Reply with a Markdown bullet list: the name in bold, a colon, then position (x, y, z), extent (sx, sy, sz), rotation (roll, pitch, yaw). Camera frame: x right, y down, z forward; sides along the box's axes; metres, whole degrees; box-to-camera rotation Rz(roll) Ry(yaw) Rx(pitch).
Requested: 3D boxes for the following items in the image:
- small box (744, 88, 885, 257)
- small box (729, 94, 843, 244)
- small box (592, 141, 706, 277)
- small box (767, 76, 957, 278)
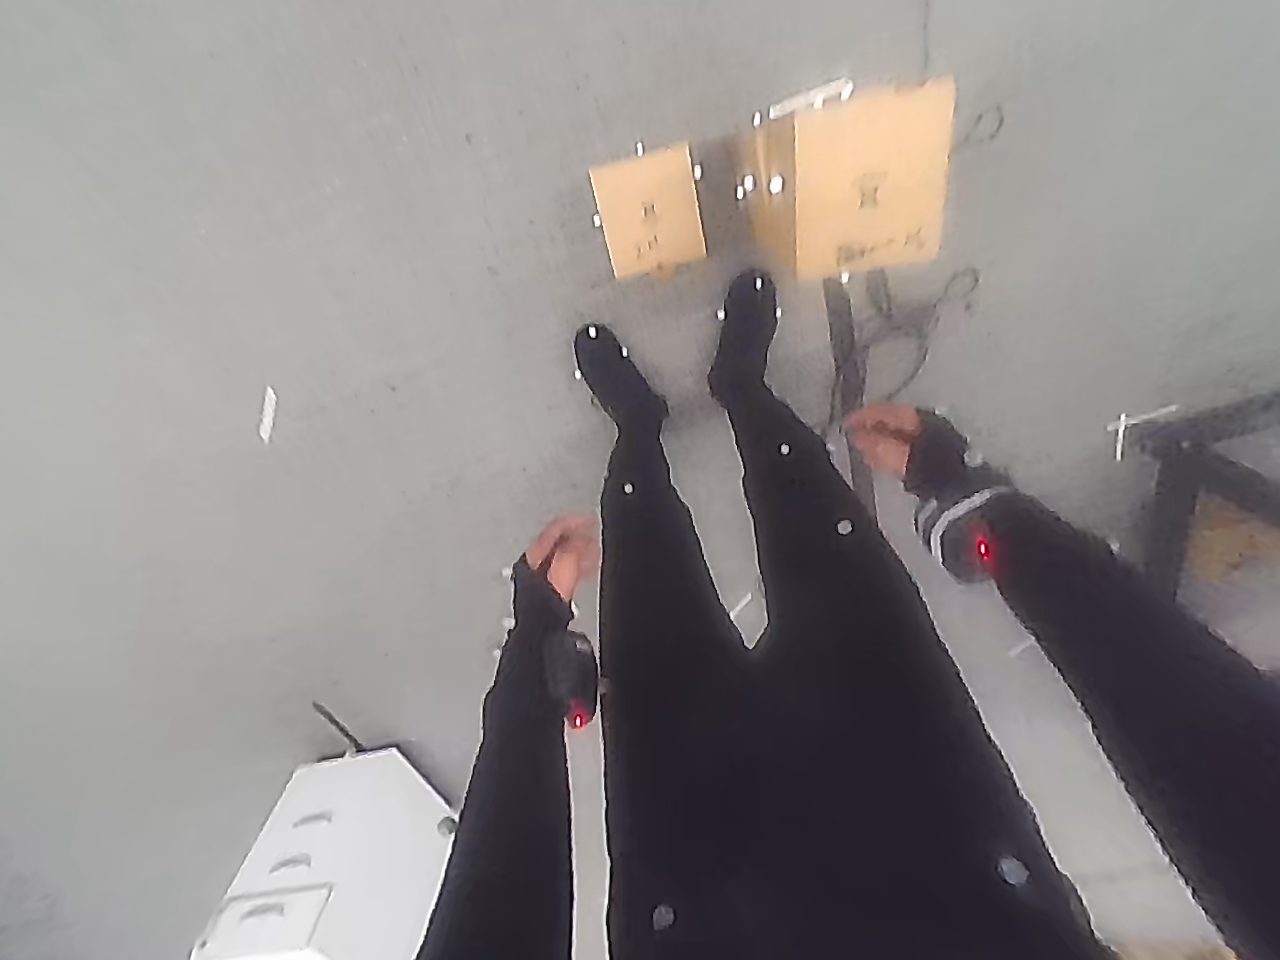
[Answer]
- **small box**: position (0.258, -0.449, 0.801), extent (0.179, 0.176, 0.168), rotation (-14, 120, 9)
- **small box**: position (0.258, -0.533, 0.939), extent (0.168, 0.176, 0.179), rotation (-15, 120, 10)
- **small box**: position (0.017, -0.485, 0.967), extent (0.168, 0.176, 0.179), rotation (-11, 121, 8)
- **small box**: position (0.255, -0.362, 0.662), extent (0.168, 0.176, 0.179), rotation (-8, 120, 6)
